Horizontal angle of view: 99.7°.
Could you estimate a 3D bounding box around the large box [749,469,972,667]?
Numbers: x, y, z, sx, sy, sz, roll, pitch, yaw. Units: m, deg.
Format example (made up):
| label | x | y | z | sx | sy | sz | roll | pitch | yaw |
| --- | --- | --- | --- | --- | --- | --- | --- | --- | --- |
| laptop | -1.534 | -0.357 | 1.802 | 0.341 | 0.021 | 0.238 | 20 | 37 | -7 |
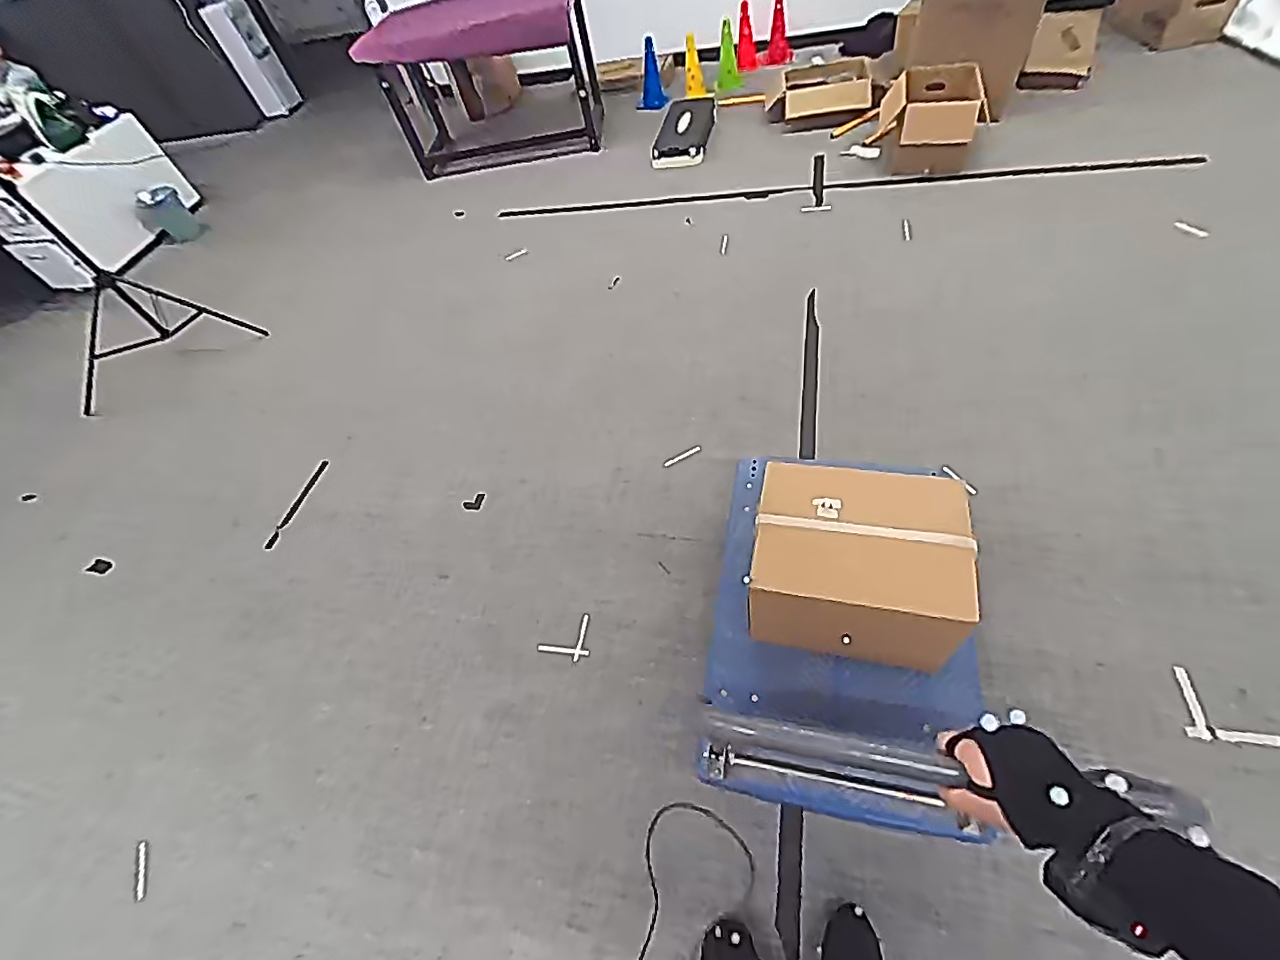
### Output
| label | x | y | z | sx | sy | sz | roll | pitch | yaw |
| --- | --- | --- | --- | --- | --- | --- | --- | --- | --- |
| large box | 0.469 | 0.199 | 1.220 | 0.408 | 0.320 | 0.320 | 5 | 55 | 17 |
